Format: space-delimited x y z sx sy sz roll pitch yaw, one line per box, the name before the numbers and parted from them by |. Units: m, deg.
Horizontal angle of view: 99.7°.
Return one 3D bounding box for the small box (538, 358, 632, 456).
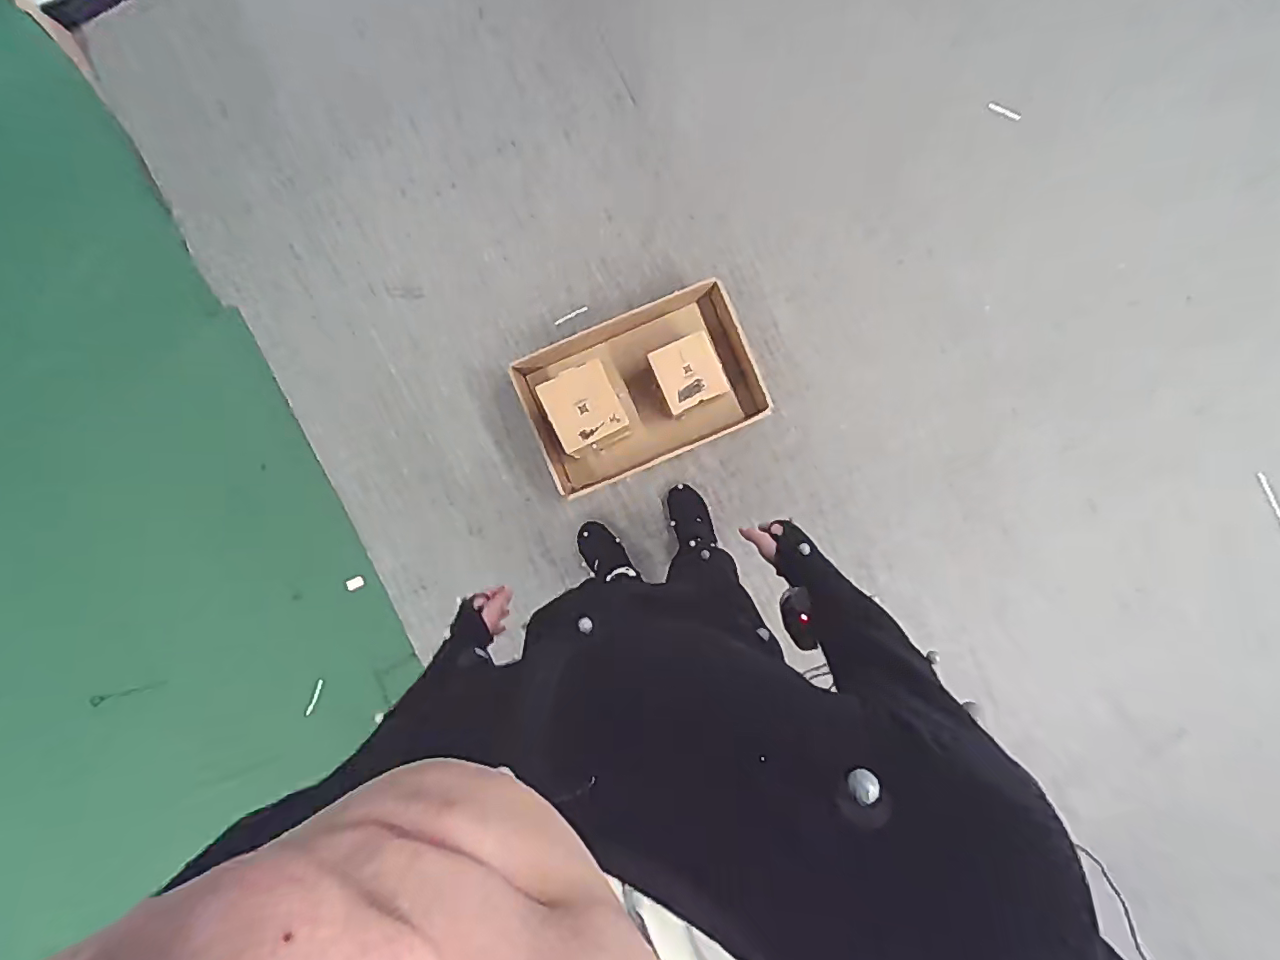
small box | -0.127 -0.170 1.317 0.168 0.176 0.179 -25 89 1
